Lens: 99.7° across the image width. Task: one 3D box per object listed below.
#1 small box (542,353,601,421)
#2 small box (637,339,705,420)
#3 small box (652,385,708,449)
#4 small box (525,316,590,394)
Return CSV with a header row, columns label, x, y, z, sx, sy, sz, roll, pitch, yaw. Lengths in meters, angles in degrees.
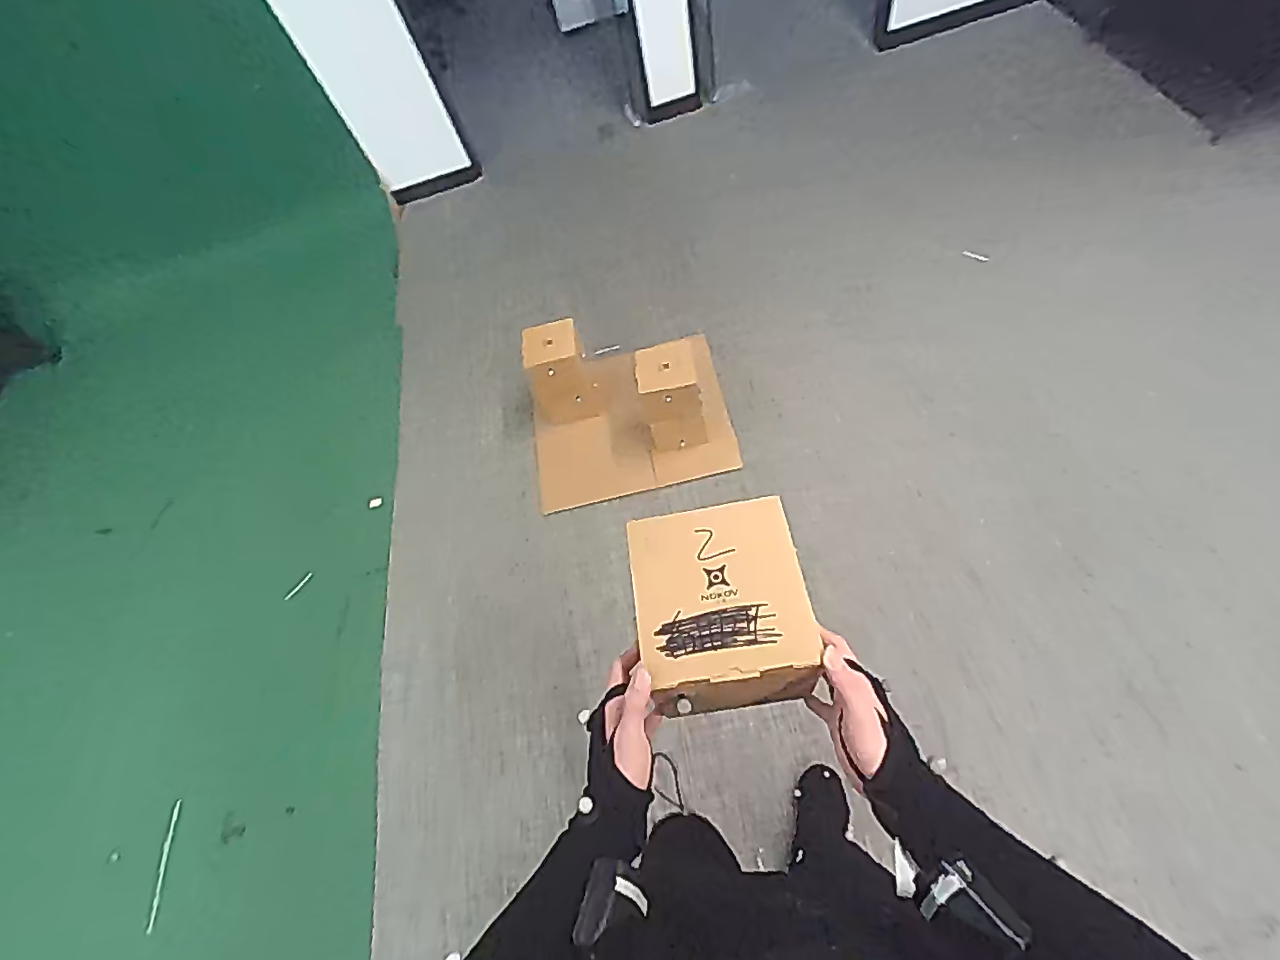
label,x,y,z,sx,sy,sz,roll,pitch,yaw
small box,-0.244,-0.335,1.940,0.179,0.176,0.168,-12,60,7
small box,0.096,-0.302,1.661,0.179,0.176,0.168,-9,62,8
small box,0.130,-0.224,1.801,0.179,0.176,0.168,-11,60,7
small box,-0.269,-0.411,1.799,0.179,0.176,0.168,-12,61,7
